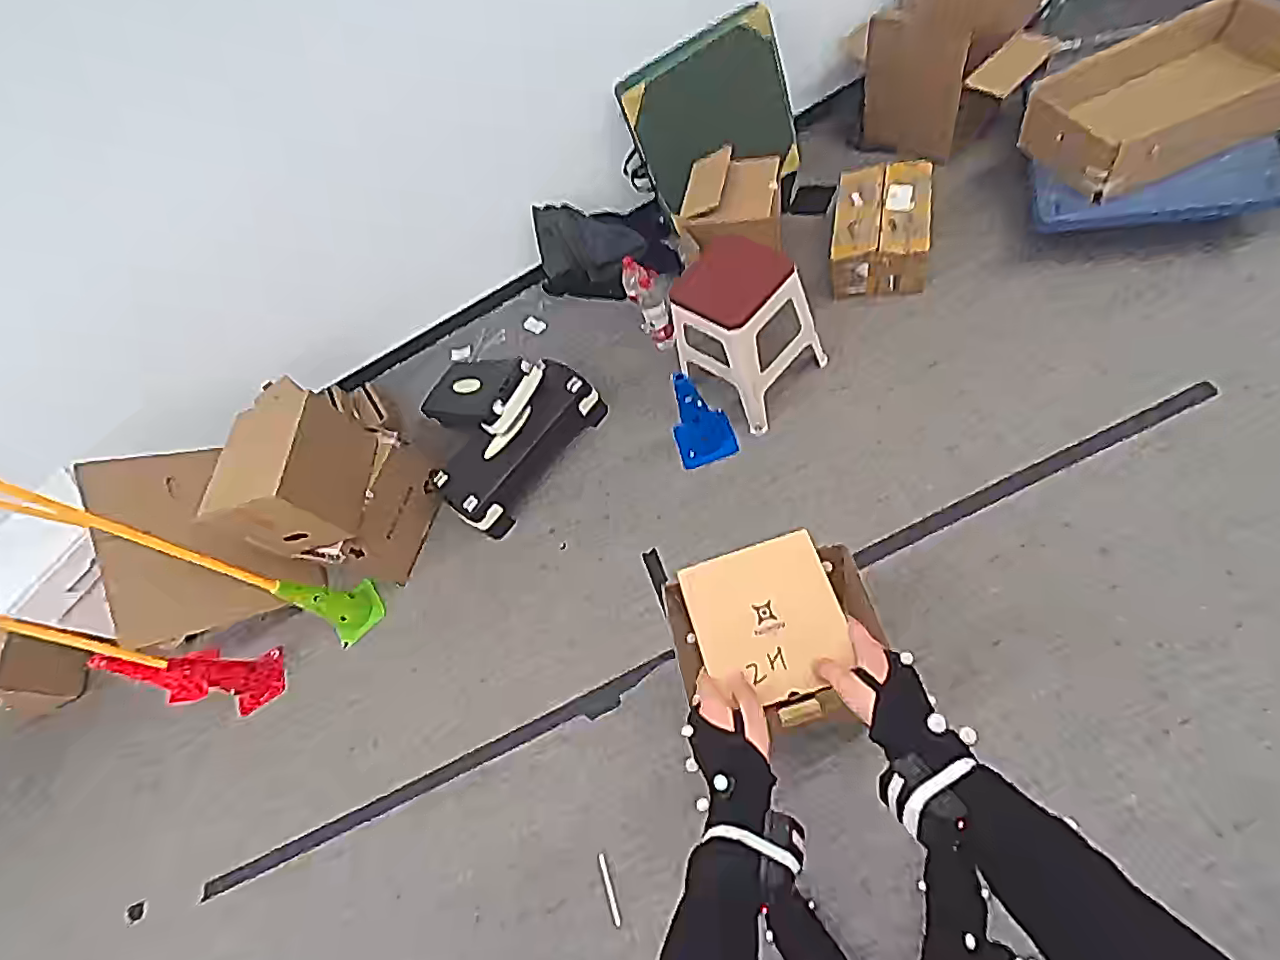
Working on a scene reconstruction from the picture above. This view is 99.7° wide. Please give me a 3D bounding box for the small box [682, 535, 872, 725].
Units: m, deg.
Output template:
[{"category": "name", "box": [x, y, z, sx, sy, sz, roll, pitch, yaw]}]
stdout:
[{"category": "small box", "box": [0.161, 0.192, 0.677, 0.168, 0.176, 0.179, -19, 66, 6]}]
